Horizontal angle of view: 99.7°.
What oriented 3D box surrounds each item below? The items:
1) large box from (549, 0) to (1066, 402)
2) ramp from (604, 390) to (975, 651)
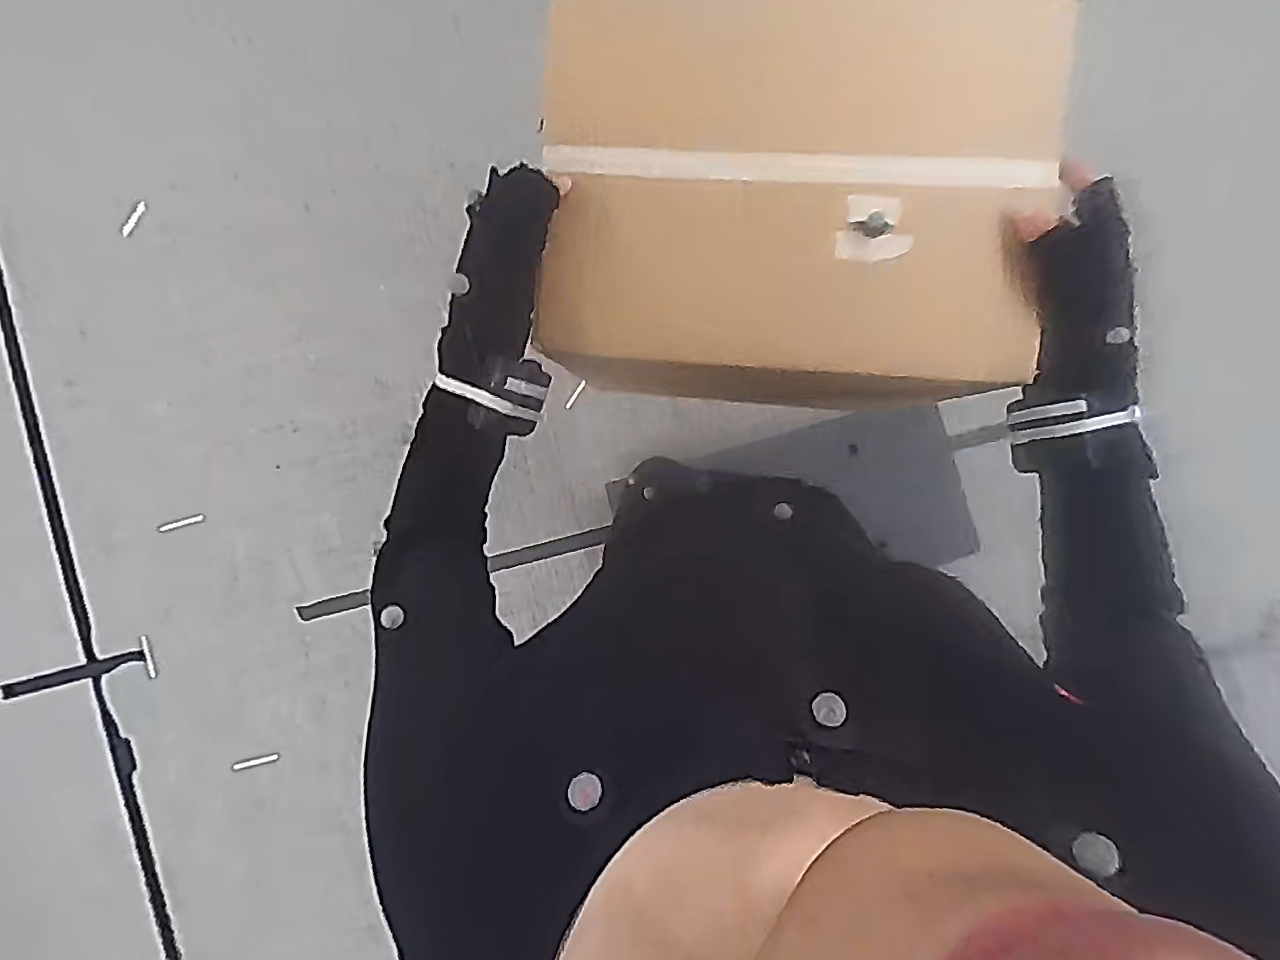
[{"bbox_3d":[0.137,-0.266,0.594,0.408,0.320,0.320,5,94,4],"label":"large box"},{"bbox_3d":[0.438,0.095,1.534,0.991,0.206,0.509,-18,87,3],"label":"ramp"}]
